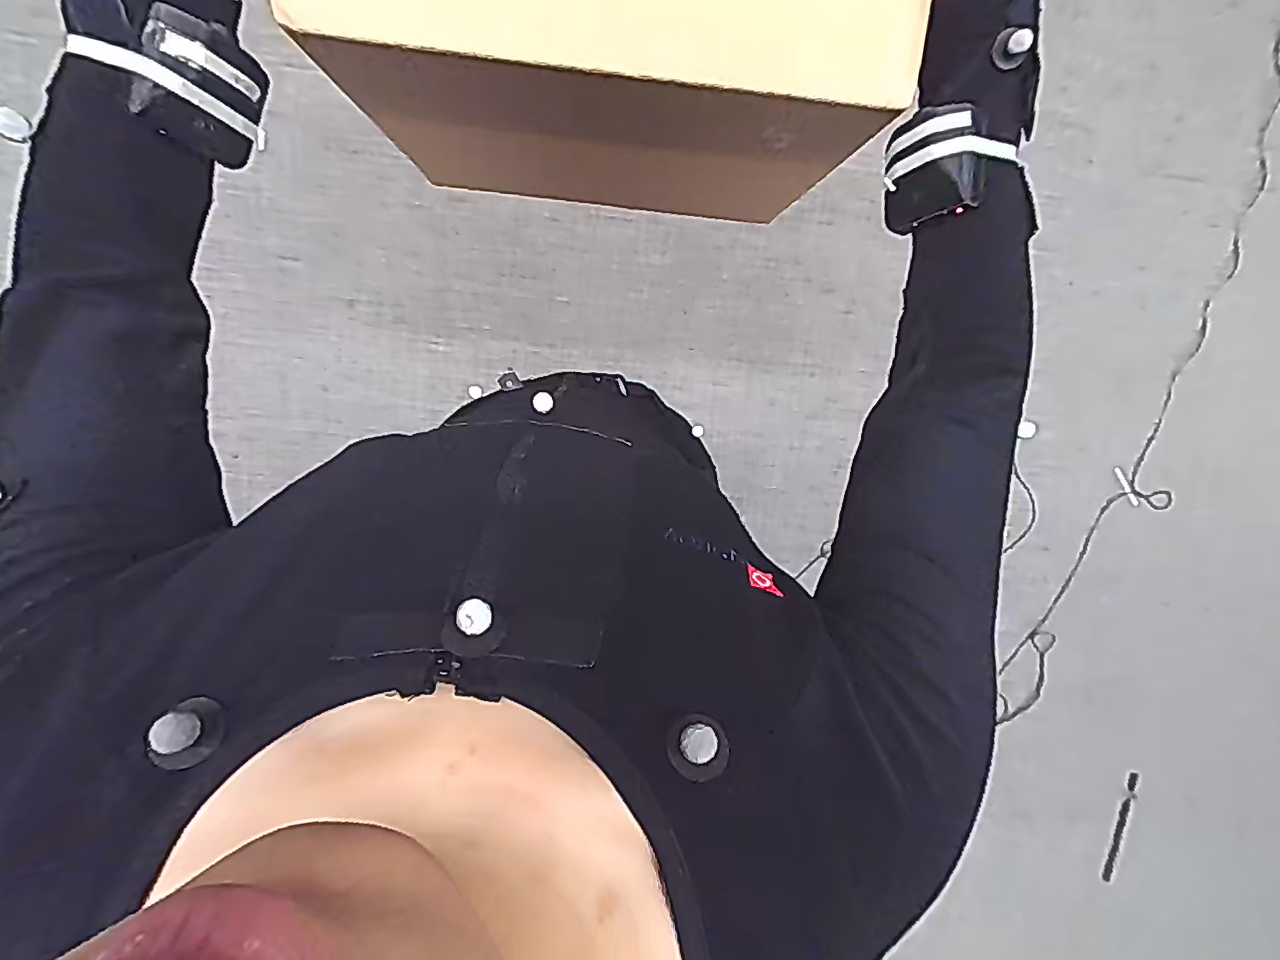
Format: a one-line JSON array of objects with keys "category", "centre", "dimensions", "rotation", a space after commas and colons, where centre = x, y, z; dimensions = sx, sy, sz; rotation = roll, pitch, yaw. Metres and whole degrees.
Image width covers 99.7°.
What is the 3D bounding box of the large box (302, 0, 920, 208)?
[{"category": "large box", "centre": [-0.017, -0.454, 0.466], "dimensions": [0.408, 0.320, 0.320], "rotation": [3, 103, -5]}]
